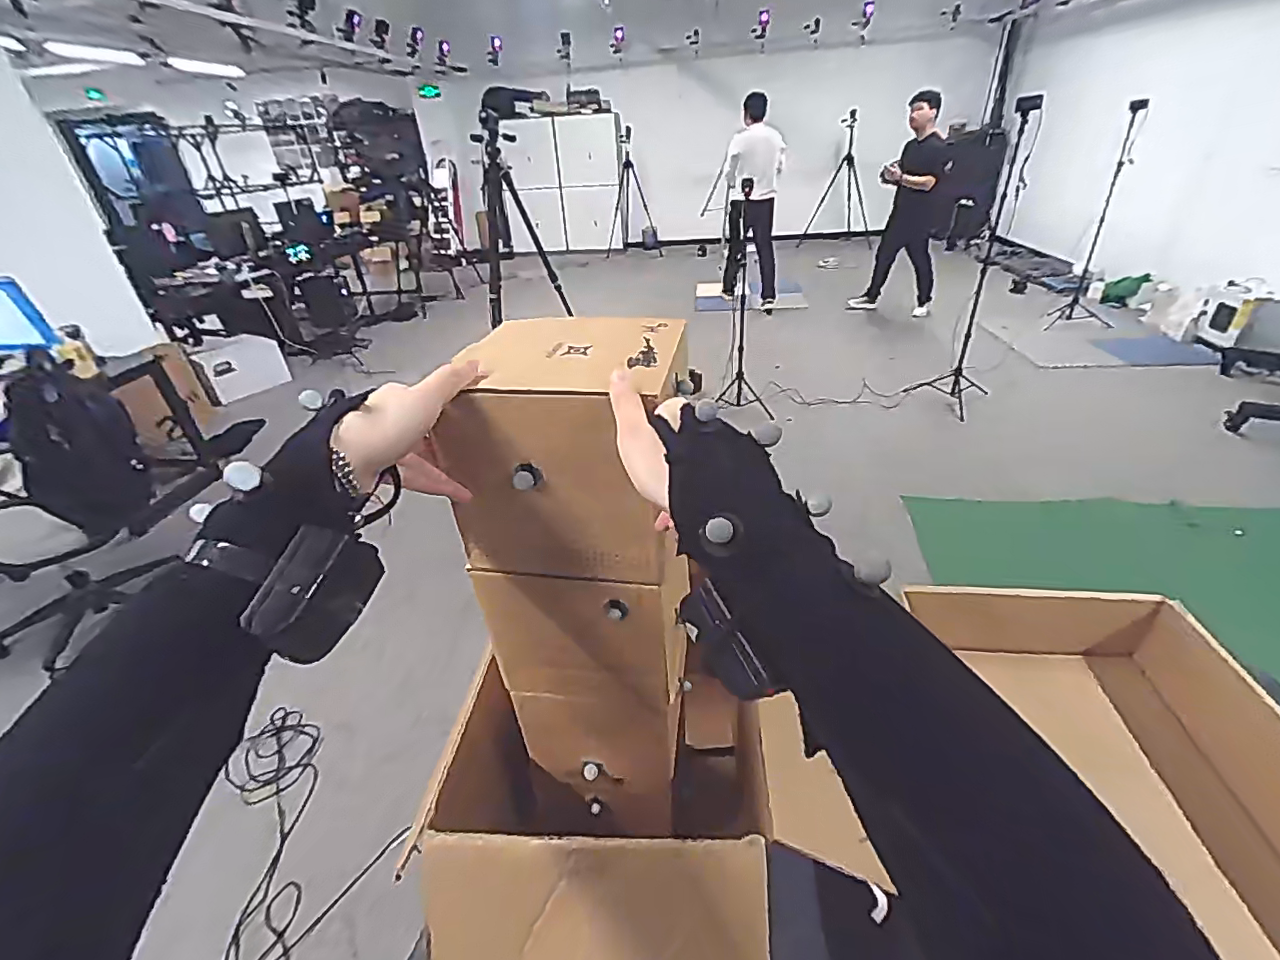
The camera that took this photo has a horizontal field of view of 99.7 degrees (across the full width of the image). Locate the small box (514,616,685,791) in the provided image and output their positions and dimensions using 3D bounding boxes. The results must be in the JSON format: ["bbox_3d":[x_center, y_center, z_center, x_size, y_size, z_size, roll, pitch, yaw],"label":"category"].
[{"bbox_3d":[-0.035,0.240,0.659,0.168,0.176,0.179,2,35,10],"label":"small box"}]

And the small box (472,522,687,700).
[{"bbox_3d":[-0.046,0.107,0.568,0.179,0.176,0.168,3,34,10],"label":"small box"}]

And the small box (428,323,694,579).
[{"bbox_3d":[-0.048,-0.031,0.477,0.179,0.176,0.168,3,34,11],"label":"small box"}]
